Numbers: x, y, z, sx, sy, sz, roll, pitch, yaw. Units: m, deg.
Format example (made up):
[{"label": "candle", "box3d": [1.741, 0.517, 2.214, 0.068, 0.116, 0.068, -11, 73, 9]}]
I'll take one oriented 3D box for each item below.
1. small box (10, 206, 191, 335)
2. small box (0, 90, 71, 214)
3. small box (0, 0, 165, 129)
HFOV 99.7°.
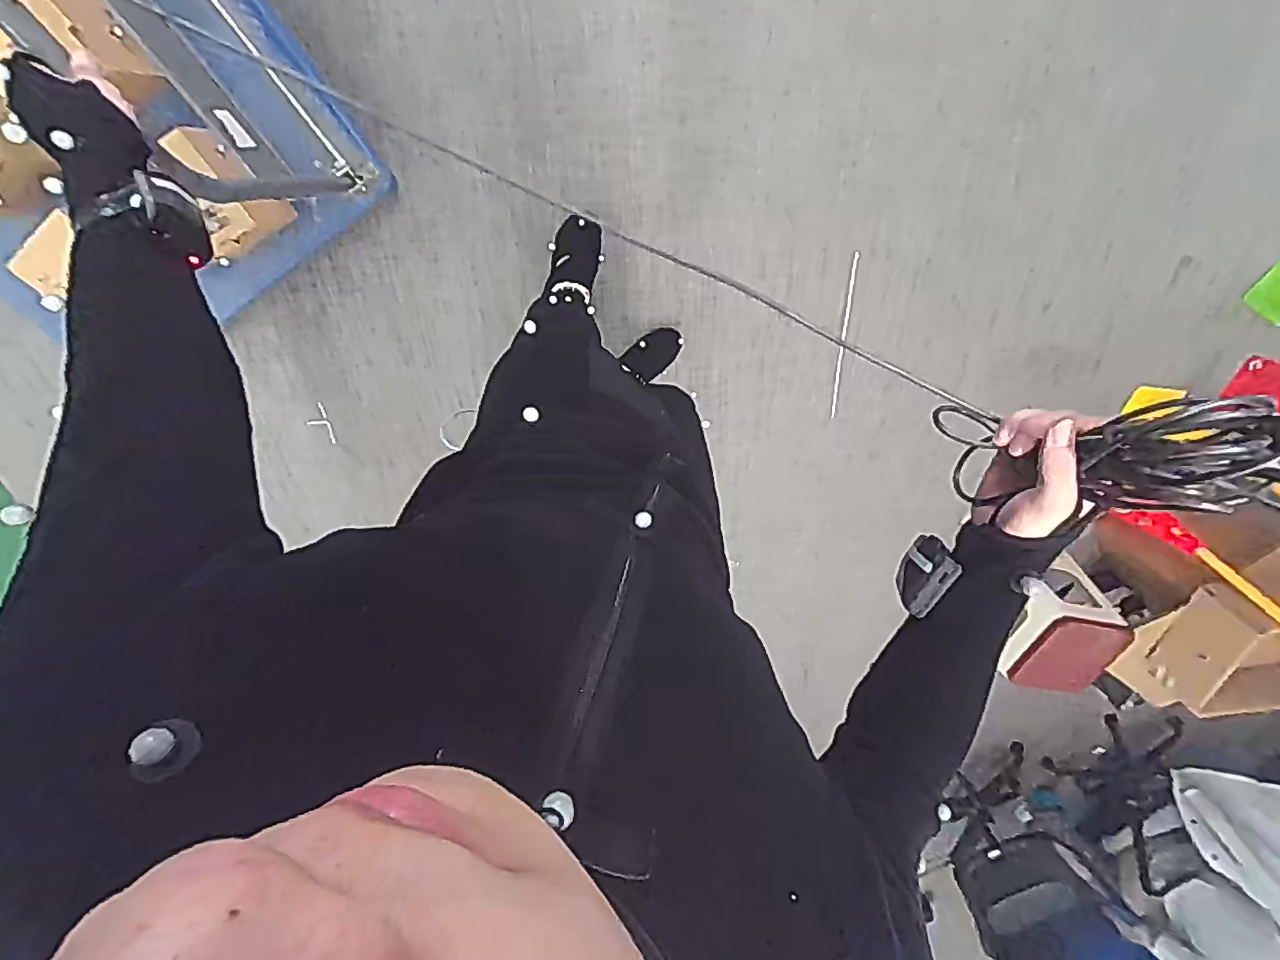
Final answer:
[{"label": "small box", "box3d": [-1.070, -0.430, 1.096, 0.179, 0.176, 0.168, -33, 118, 14]}, {"label": "small box", "box3d": [-1.214, -0.600, 0.978, 0.179, 0.176, 0.168, -32, 119, 14]}, {"label": "small box", "box3d": [-0.983, -0.729, 0.923, 0.179, 0.176, 0.168, -29, 120, 11]}]
